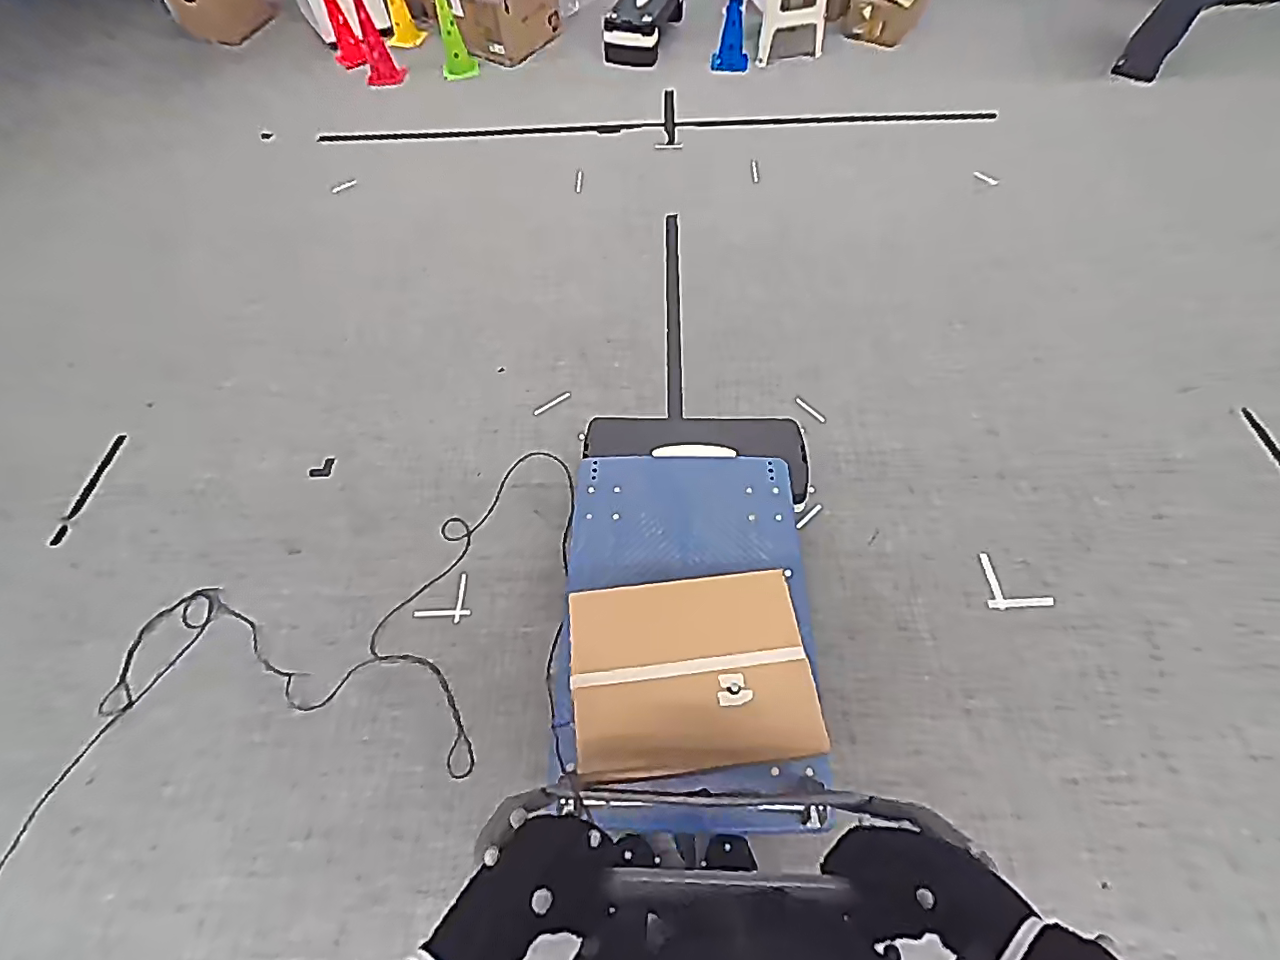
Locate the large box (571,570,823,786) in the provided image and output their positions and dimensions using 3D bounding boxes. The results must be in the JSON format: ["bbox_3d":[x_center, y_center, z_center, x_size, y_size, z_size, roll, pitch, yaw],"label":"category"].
[{"bbox_3d":[0.087,0.402,1.076,0.408,0.320,0.320,-6,60,-3],"label":"large box"}]
